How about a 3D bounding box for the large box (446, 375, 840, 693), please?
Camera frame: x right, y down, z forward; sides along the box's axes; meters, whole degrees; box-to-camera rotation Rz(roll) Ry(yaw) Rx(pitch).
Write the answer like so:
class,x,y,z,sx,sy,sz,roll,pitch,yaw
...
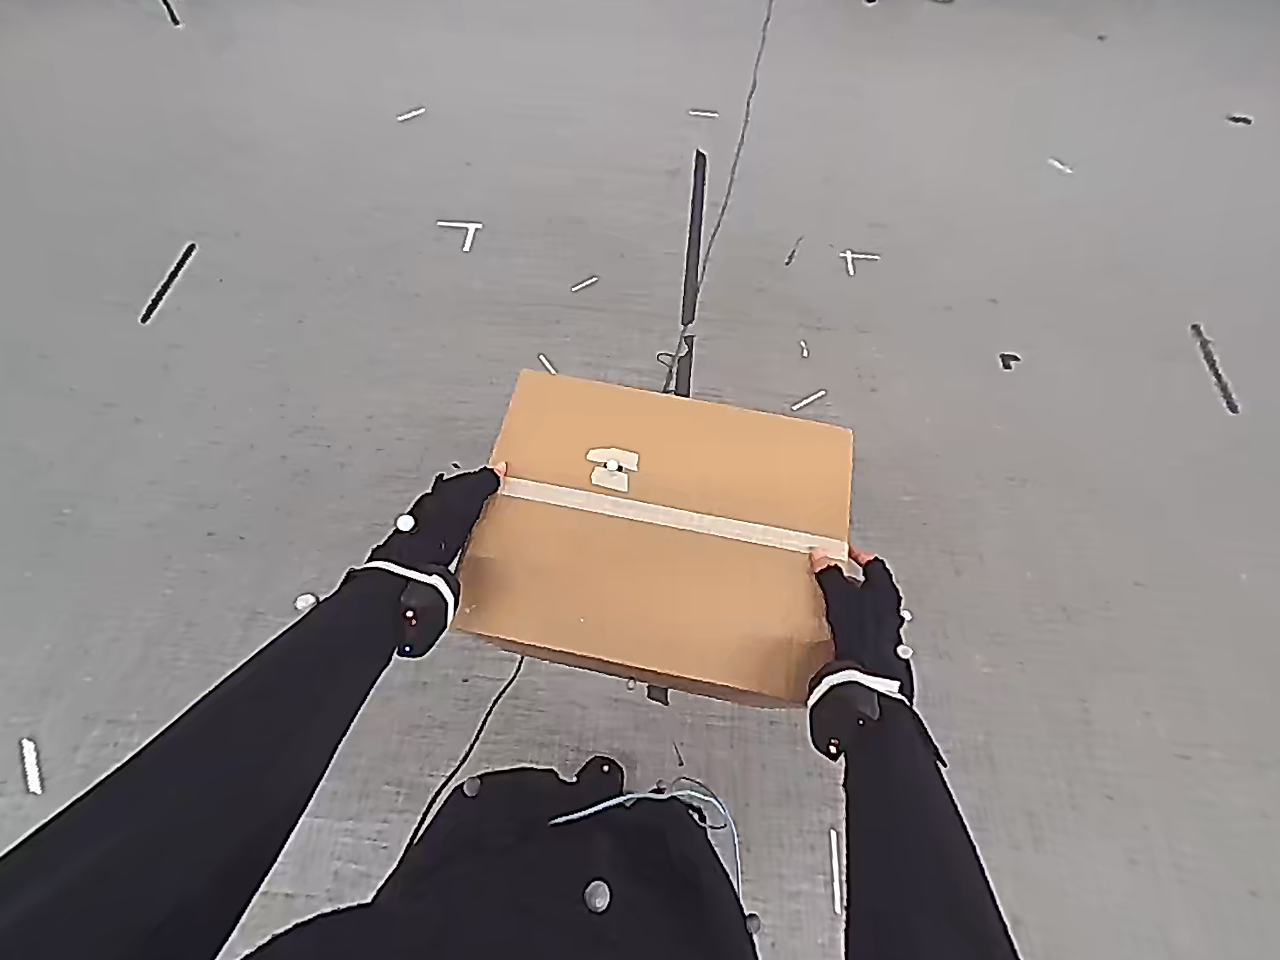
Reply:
class,x,y,z,sx,sy,sz,roll,pitch,yaw
large box,0.020,0.096,0.740,0.408,0.320,0.320,11,67,4
